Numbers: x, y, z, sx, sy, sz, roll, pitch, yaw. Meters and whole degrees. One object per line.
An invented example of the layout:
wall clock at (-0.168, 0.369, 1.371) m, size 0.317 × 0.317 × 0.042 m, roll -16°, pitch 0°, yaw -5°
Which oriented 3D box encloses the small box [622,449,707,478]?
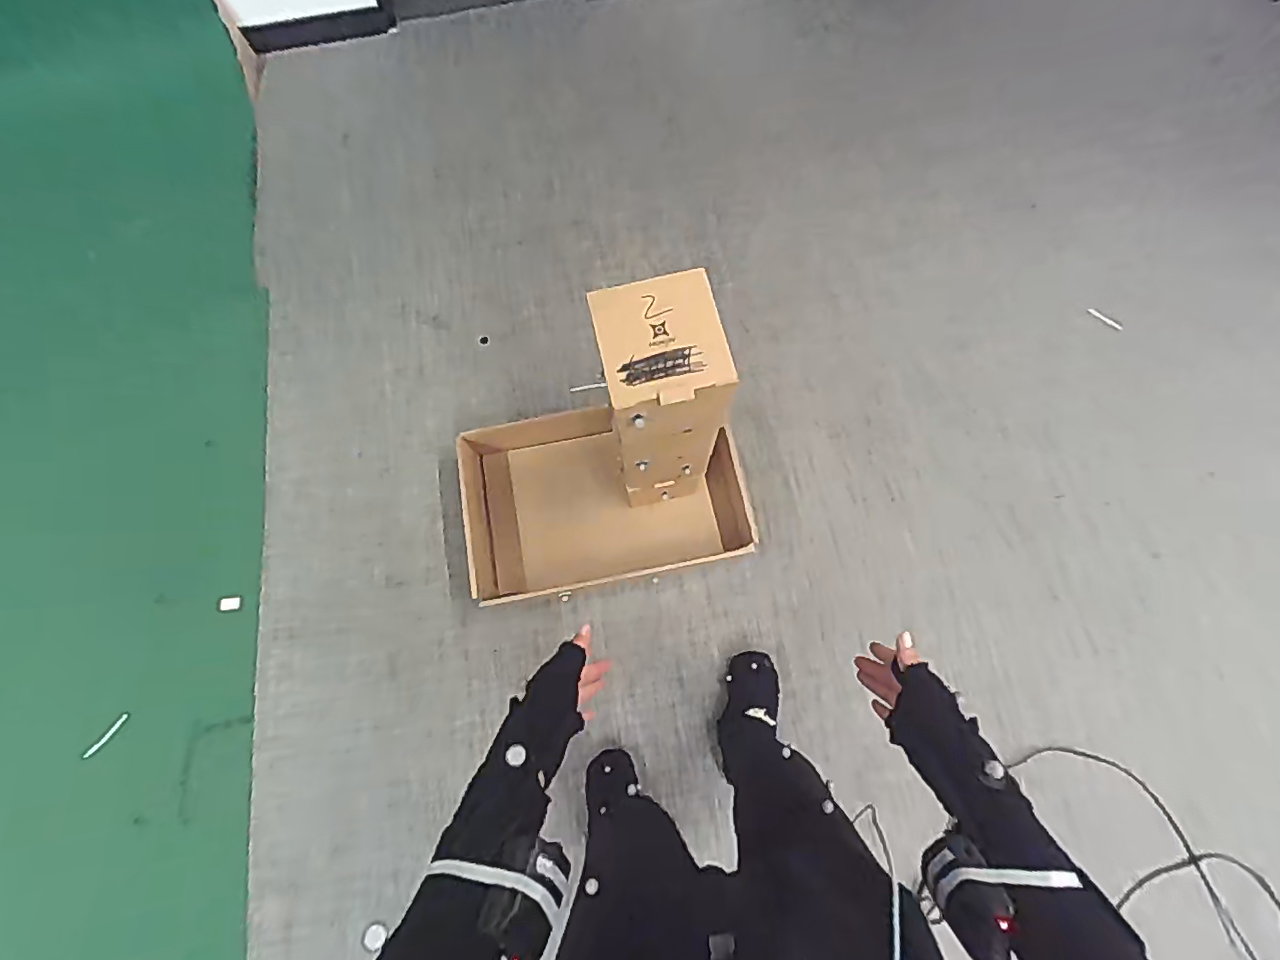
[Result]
small box at (0.039, -0.109, 1.083) m, size 0.168 × 0.176 × 0.179 m, roll -11°, pitch 75°, yaw -1°

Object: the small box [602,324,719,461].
small box at (0.034, -0.140, 0.939) m, size 0.168 × 0.176 × 0.179 m, roll -10°, pitch 75°, yaw -1°

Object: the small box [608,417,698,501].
small box at (0.033, -0.059, 1.258) m, size 0.168 × 0.176 × 0.179 m, roll -16°, pitch 74°, yaw 0°
